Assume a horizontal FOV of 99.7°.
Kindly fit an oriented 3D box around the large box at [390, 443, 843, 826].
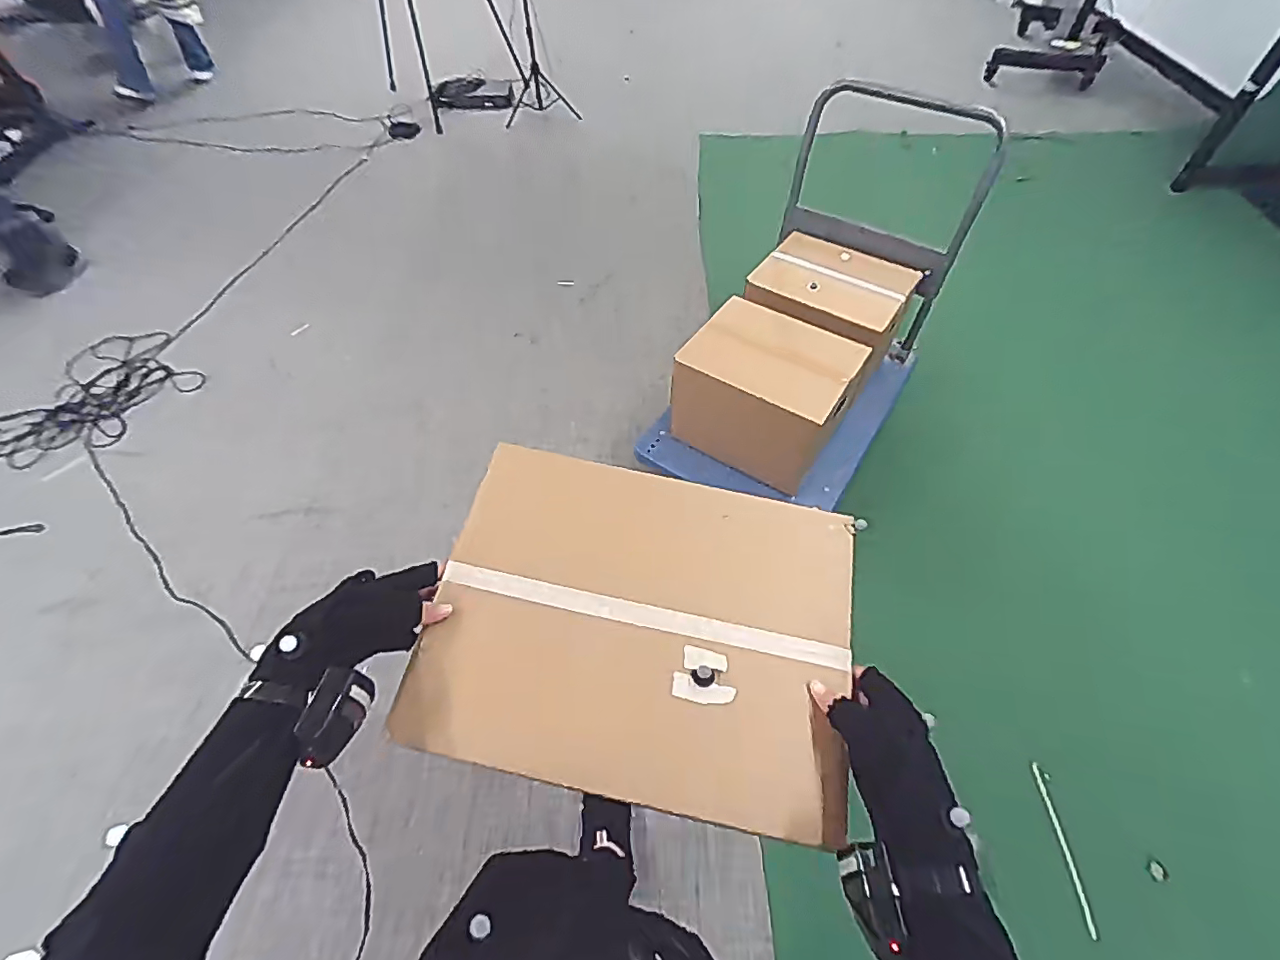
[{"bbox_3d":[-0.008,0.197,0.665,0.408,0.320,0.320,13,61,3],"label":"large box"}]
